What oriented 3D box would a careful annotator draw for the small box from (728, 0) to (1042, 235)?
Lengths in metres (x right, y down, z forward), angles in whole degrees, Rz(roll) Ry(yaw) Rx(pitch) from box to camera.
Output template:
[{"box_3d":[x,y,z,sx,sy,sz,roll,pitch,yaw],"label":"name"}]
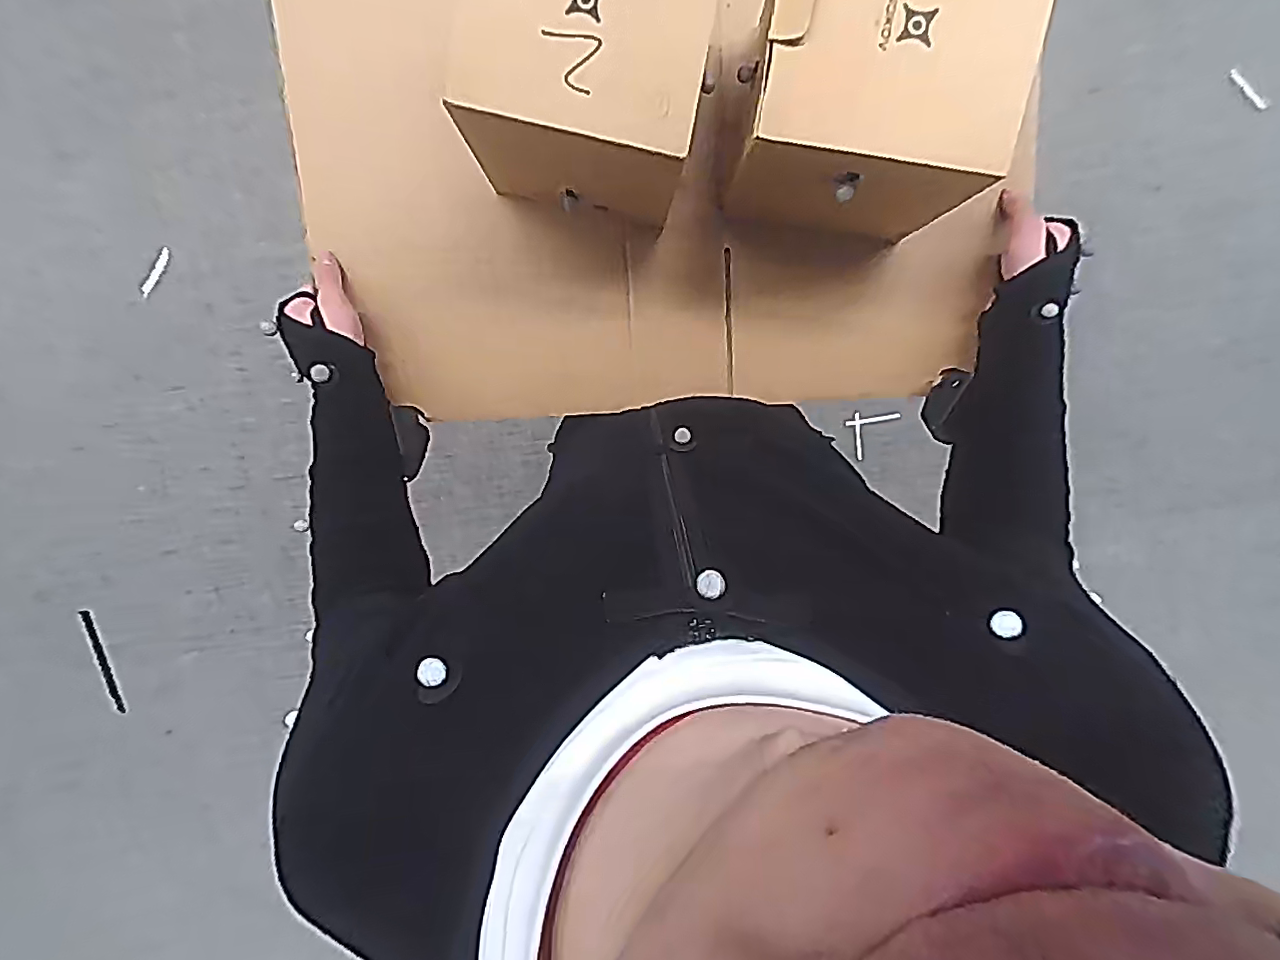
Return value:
[{"box_3d":[0.180,-0.315,0.444,0.179,0.176,0.168,9,100,1],"label":"small box"}]
